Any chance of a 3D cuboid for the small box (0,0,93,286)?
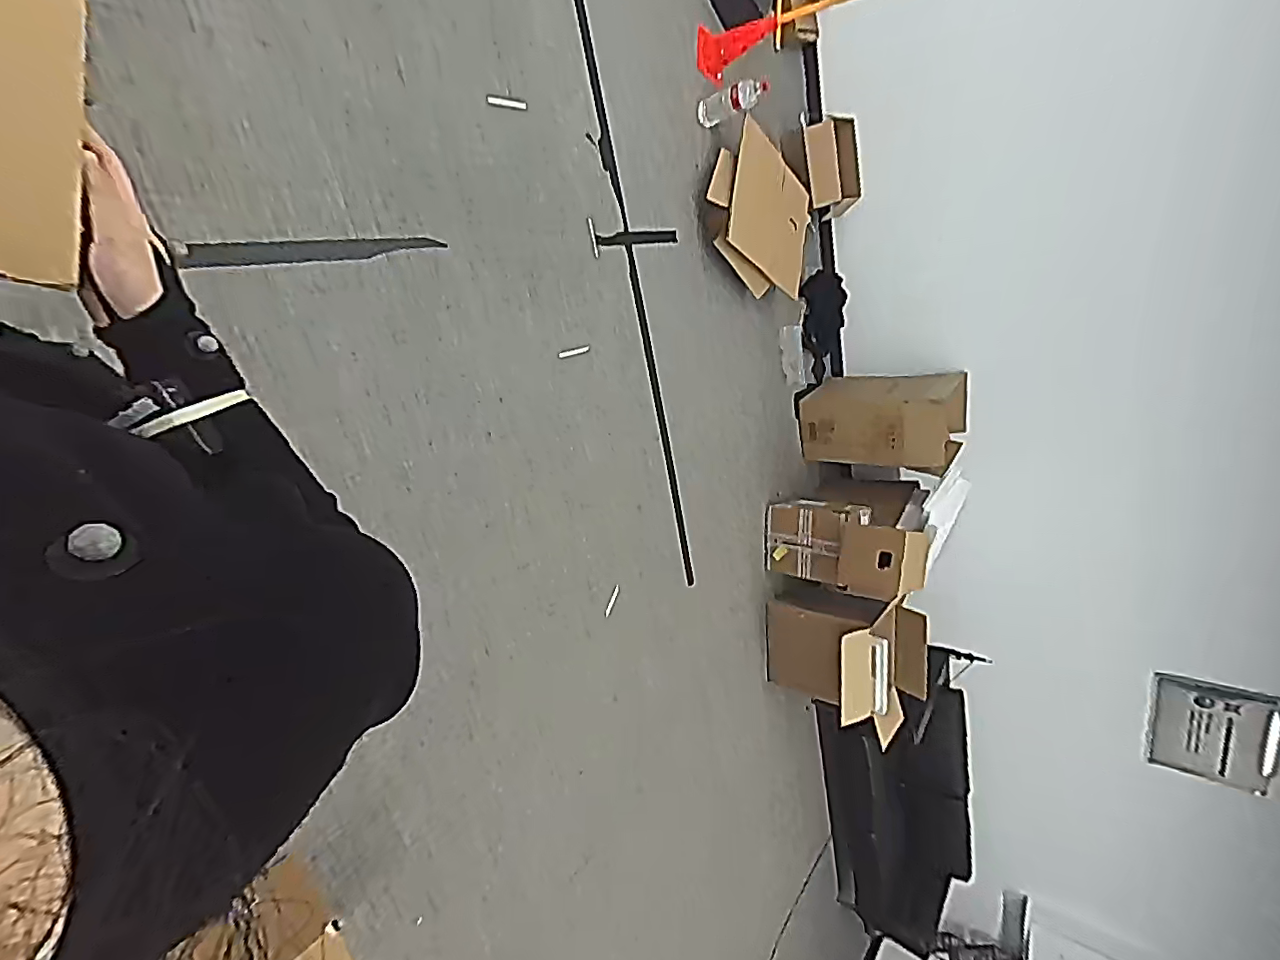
[{"bbox_3d":[-0.452,-0.222,0.300,0.168,0.176,0.179,-7,109,-63],"label":"small box"}]
